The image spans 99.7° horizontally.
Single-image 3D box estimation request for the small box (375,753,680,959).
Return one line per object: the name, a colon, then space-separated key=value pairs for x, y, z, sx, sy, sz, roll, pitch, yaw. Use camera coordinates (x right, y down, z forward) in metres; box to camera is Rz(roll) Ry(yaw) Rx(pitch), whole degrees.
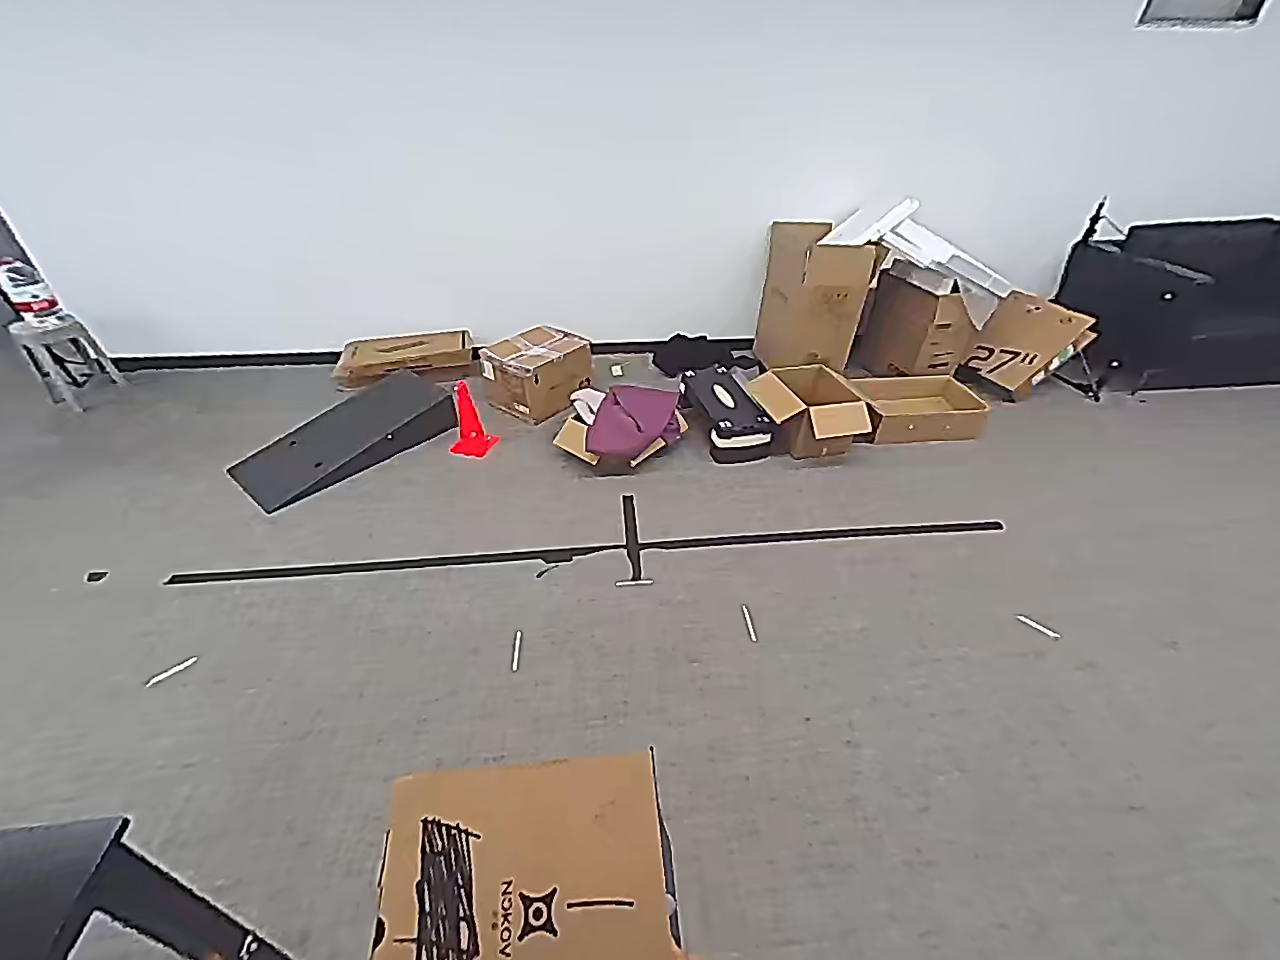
small box: x=-0.070 y=0.309 z=0.384 sx=0.179 sy=0.176 sz=0.168 roll=-2 pitch=52 yaw=-7
